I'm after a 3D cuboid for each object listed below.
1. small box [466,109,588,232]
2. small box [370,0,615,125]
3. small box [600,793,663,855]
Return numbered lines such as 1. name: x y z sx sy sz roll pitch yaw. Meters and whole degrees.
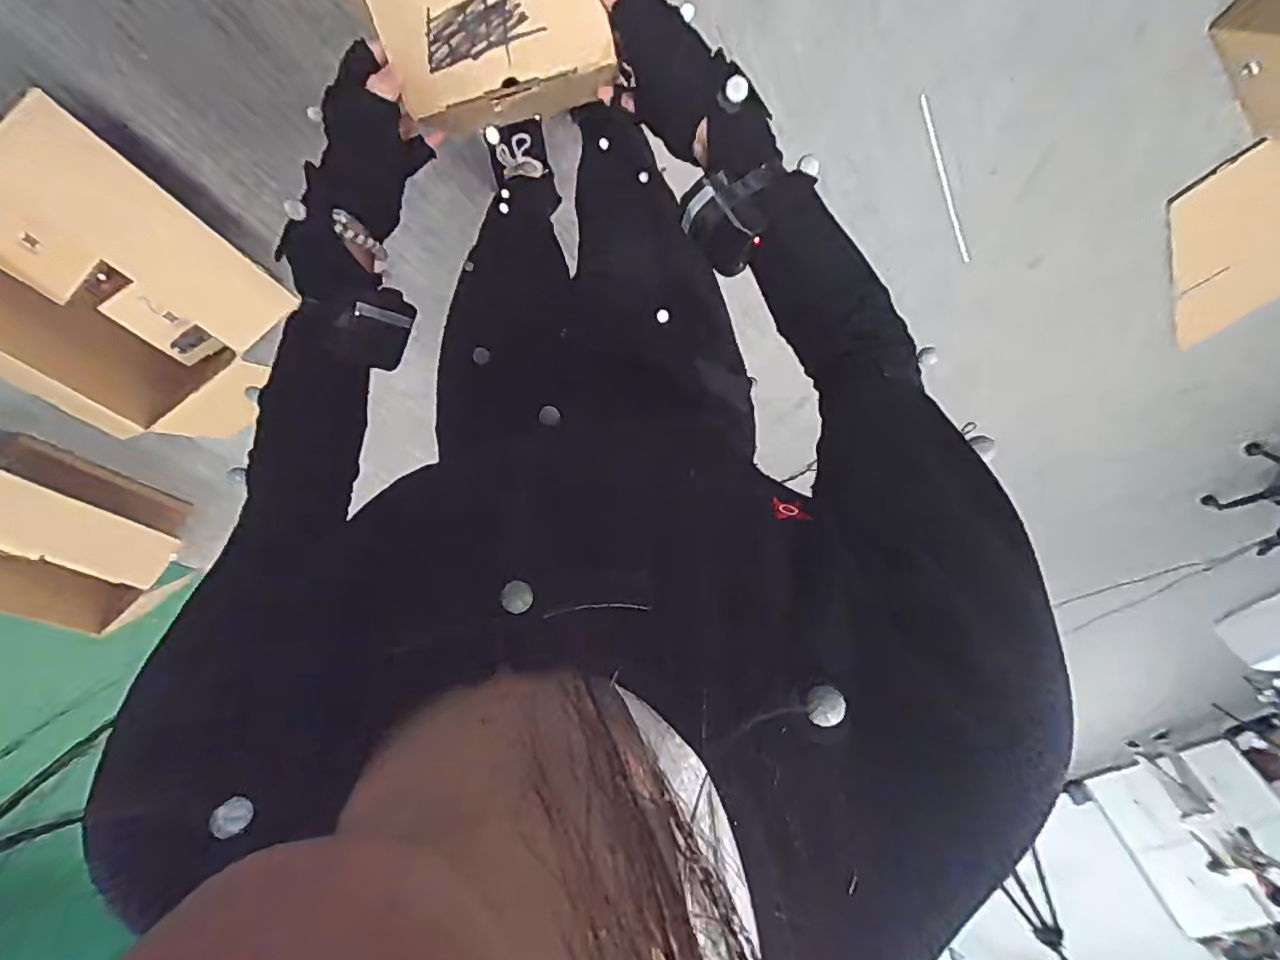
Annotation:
1. small box: -0.235 -0.650 1.108 0.179 0.176 0.168 33 131 -15
2. small box: -0.118 -0.410 0.442 0.168 0.176 0.179 -12 118 5
3. small box: -0.037 1.341 2.109 0.168 0.176 0.179 -34 133 20
